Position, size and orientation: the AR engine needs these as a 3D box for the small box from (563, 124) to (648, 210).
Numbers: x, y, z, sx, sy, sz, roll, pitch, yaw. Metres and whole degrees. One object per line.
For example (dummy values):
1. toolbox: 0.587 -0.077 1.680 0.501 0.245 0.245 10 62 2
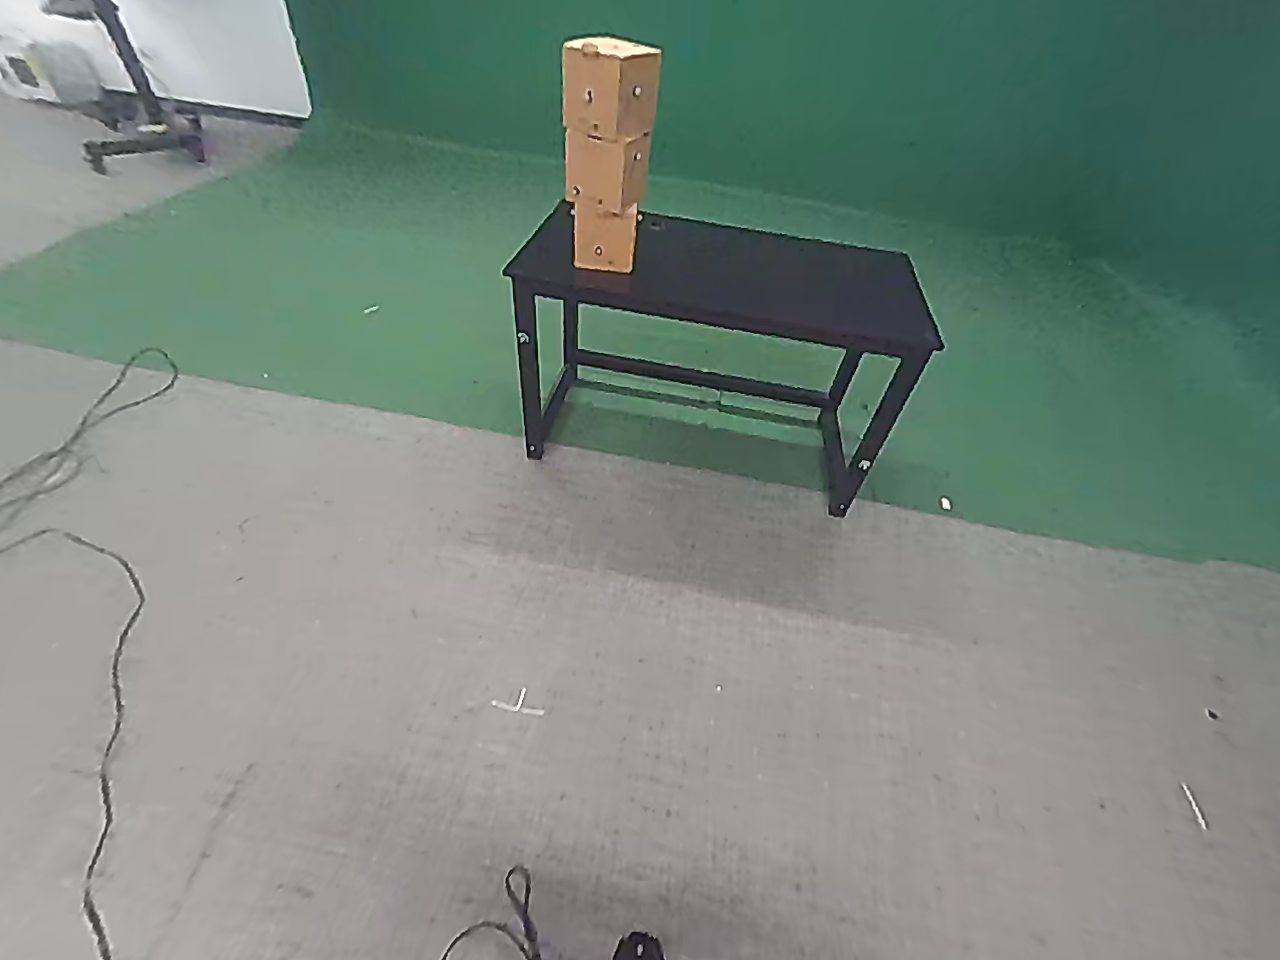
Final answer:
1. small box: -0.090 -0.842 1.437 0.168 0.176 0.179 21 47 12

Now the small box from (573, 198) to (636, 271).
1. small box: -0.102 -0.728 1.555 0.168 0.176 0.179 5 47 -3

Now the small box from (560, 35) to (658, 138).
1. small box: -0.076 -0.960 1.323 0.168 0.176 0.179 30 51 18
